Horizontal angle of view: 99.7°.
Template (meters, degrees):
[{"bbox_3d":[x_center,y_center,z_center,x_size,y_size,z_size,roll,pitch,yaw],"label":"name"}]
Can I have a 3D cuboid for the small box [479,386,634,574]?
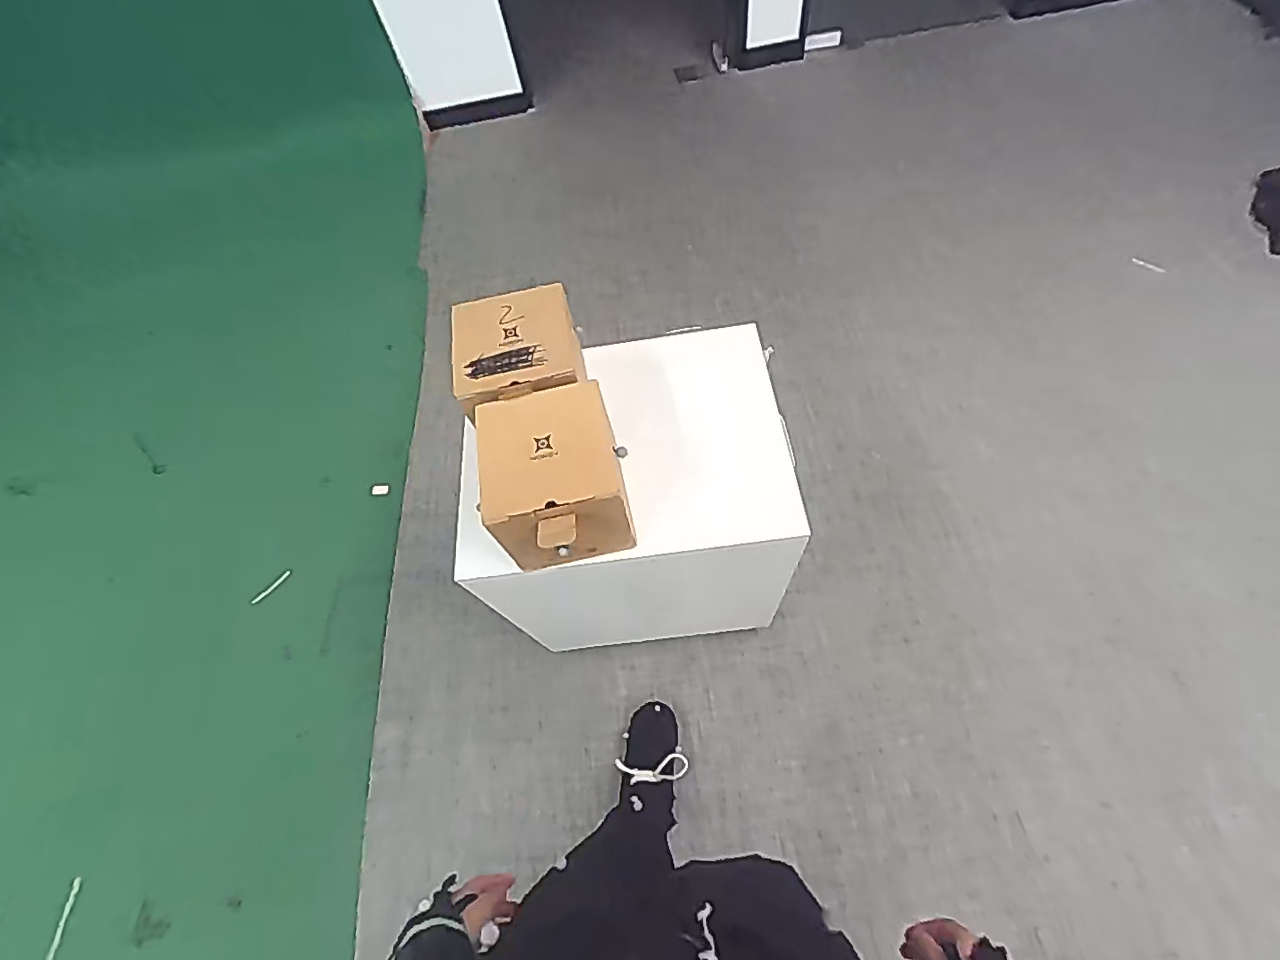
[{"bbox_3d":[-0.108,0.006,0.730,0.168,0.176,0.179,-13,61,-1],"label":"small box"}]
